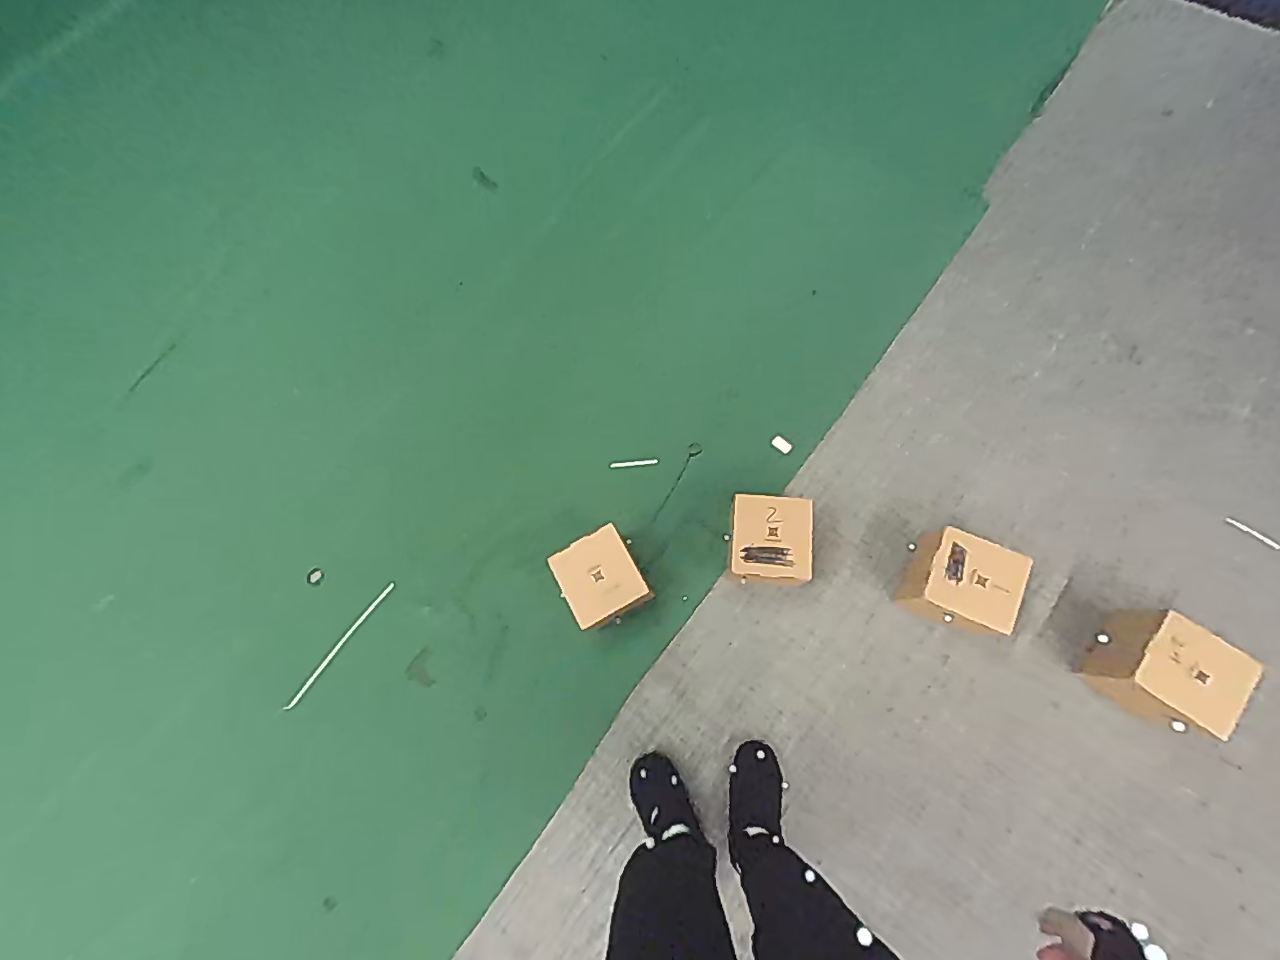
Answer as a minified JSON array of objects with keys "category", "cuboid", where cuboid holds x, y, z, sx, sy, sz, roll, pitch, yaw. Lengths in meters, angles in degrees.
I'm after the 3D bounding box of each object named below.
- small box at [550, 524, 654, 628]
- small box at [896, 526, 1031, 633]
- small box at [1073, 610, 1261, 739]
[{"category":"small box","cuboid":[-0.082,0.227,1.241,0.168,0.176,0.179,-29,73,-2]},{"category":"small box","cuboid":[0.681,0.219,1.162,0.179,0.176,0.168,23,78,11]},{"category":"small box","cuboid":[1.038,0.378,1.081,0.179,0.176,0.168,36,80,14]}]
